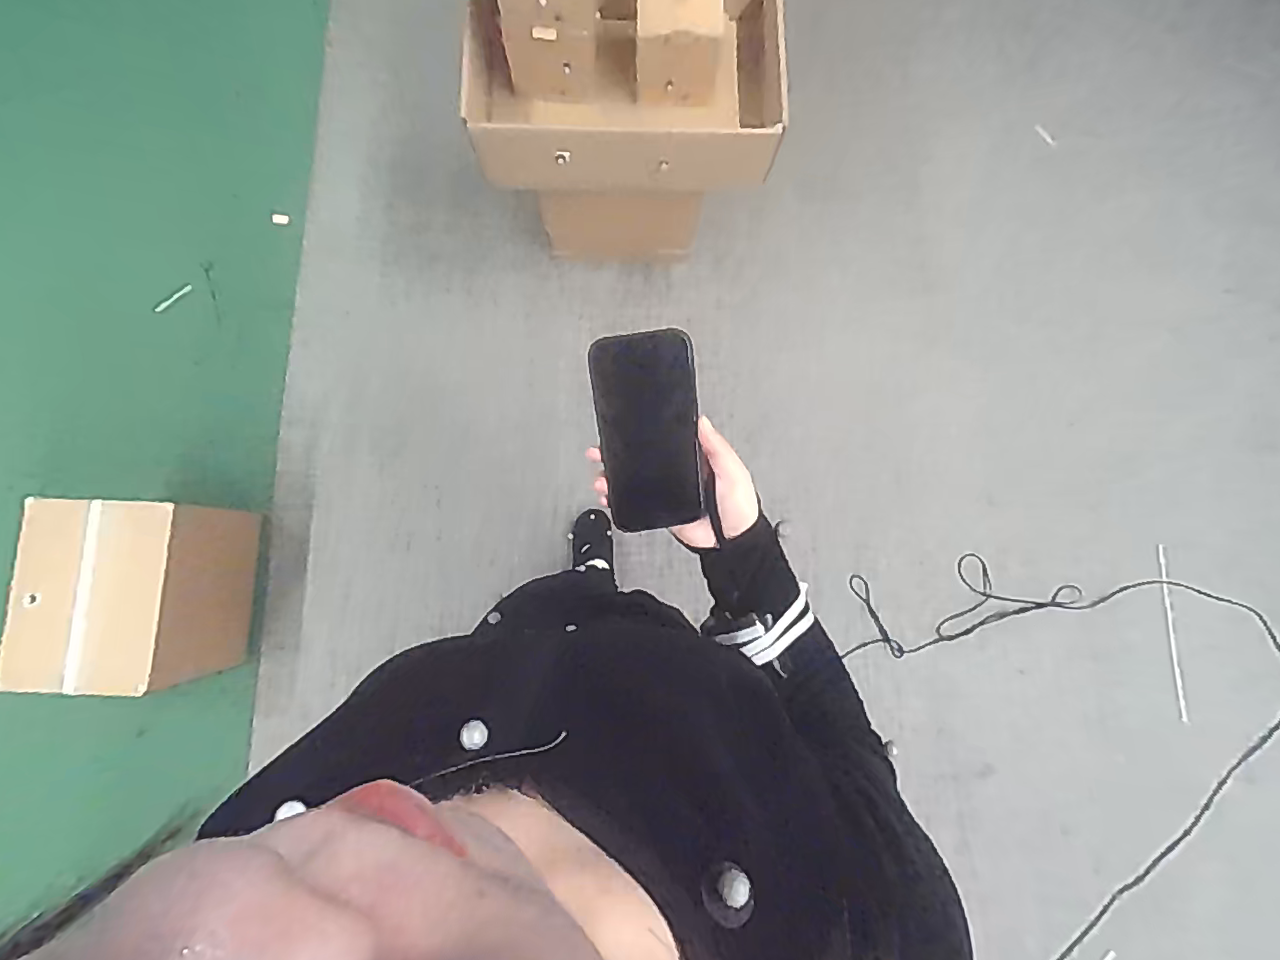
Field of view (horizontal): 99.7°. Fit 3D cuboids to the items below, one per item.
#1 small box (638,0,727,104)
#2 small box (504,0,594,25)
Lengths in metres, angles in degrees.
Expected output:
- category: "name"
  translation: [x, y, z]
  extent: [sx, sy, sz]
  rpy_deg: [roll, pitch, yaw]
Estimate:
- category: "small box"
  translation: [0.080, -0.908, 1.093]
  extent: [0.168, 0.176, 0.179]
  rpy_deg: [0, 83, -1]
- category: "small box"
  translation: [-0.162, -0.935, 0.922]
  extent: [0.168, 0.176, 0.179]
  rpy_deg: [1, 83, -2]
